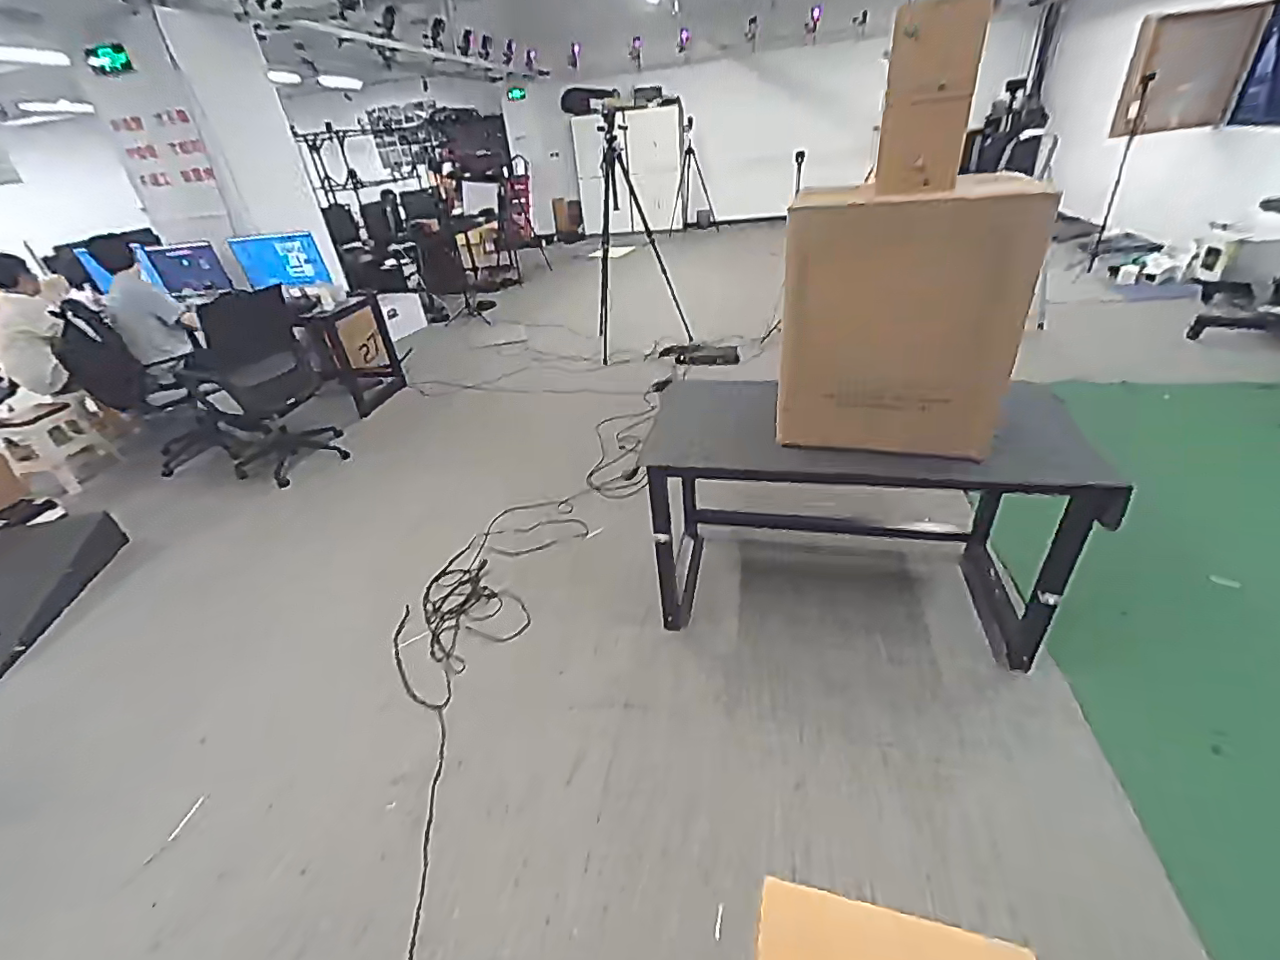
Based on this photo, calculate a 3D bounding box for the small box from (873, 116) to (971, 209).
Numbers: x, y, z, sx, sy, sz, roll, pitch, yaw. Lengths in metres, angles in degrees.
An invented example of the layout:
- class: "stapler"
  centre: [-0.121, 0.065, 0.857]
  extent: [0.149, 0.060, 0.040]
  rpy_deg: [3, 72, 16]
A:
- class: "small box"
  centre: [0.633, -0.724, 1.236]
  extent: [0.168, 0.176, 0.179]
  rpy_deg: [6, 36, 18]
